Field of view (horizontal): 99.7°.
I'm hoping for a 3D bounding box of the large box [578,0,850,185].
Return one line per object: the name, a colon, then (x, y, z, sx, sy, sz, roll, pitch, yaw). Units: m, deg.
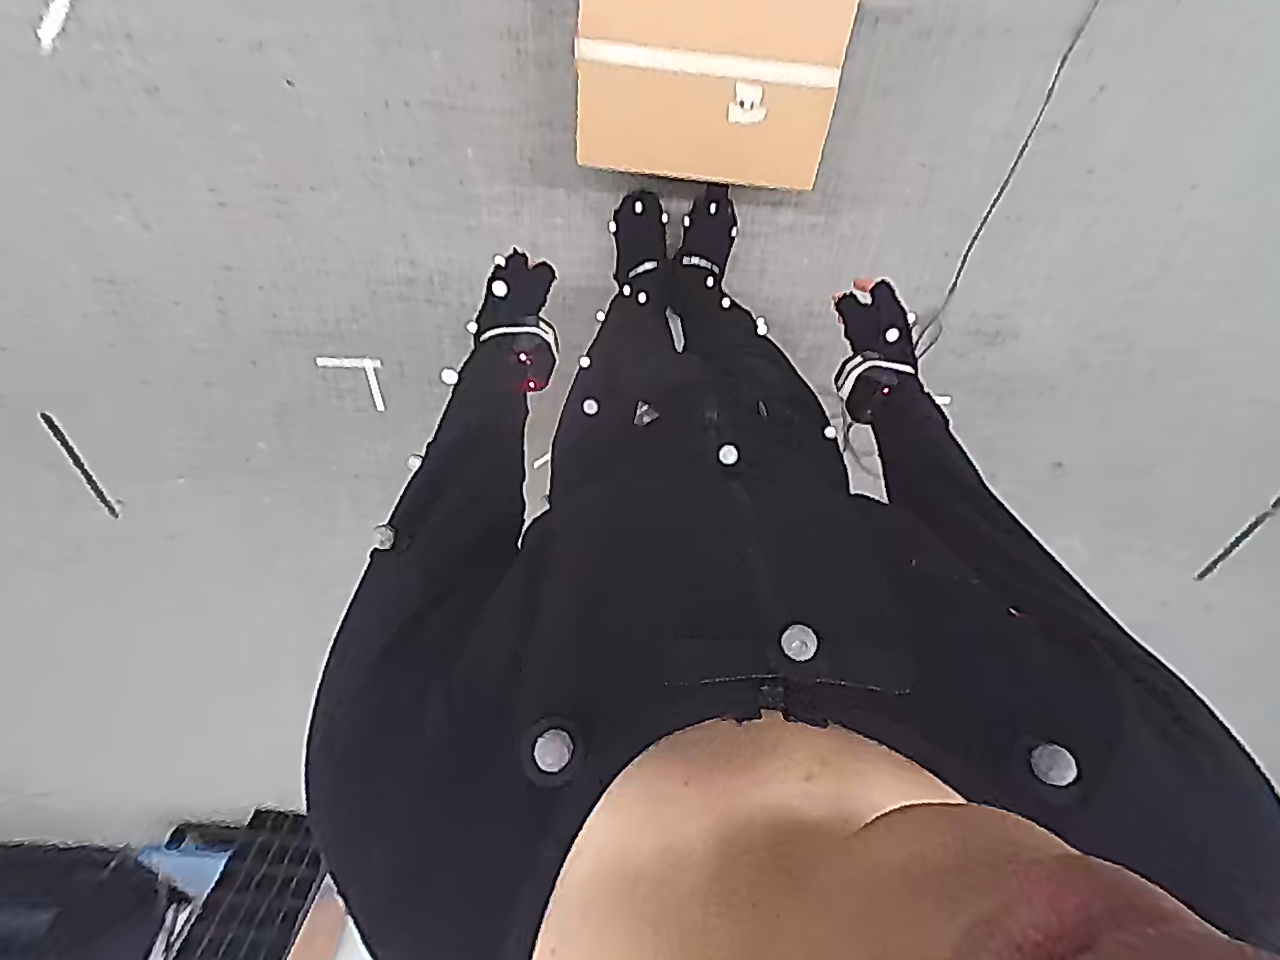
large box: (0.101, -0.730, 0.954, 0.408, 0.320, 0.320, 4, 127, -3)
